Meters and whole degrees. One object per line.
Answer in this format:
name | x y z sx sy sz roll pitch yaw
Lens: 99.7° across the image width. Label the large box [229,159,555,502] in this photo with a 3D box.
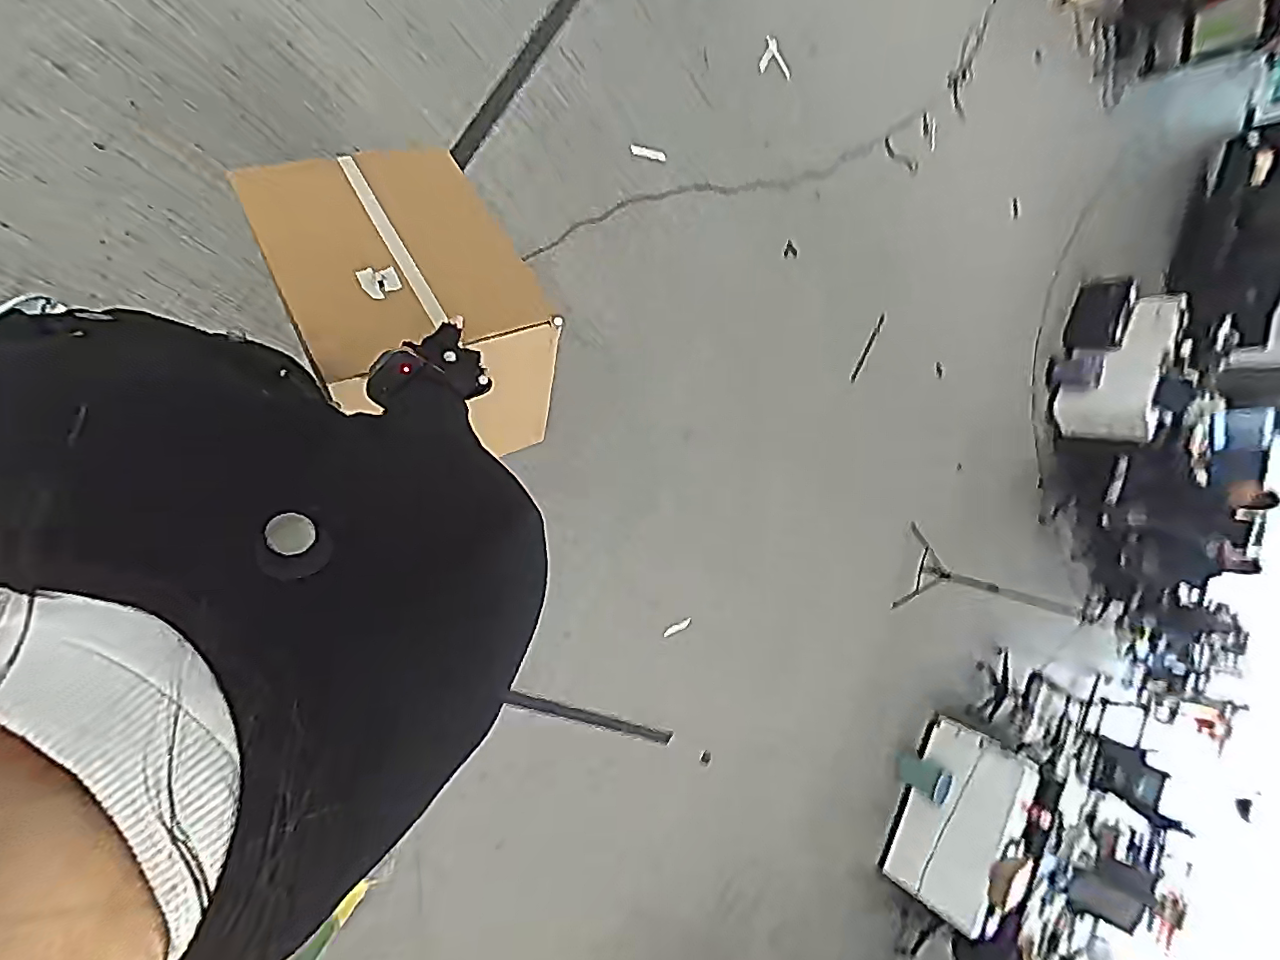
large box | -0.382 -0.241 0.882 0.320 0.320 0.408 -24 71 -25
